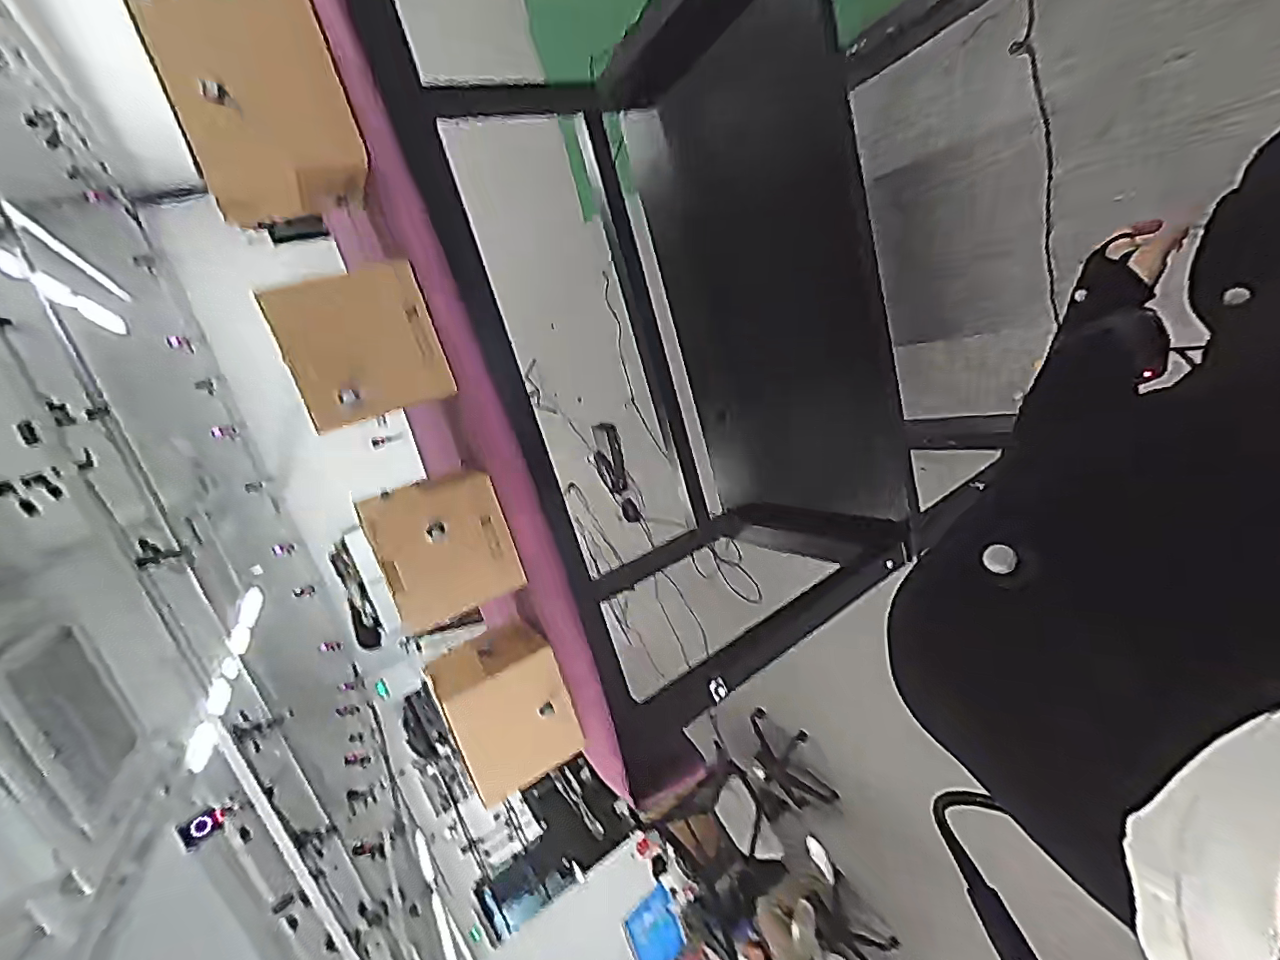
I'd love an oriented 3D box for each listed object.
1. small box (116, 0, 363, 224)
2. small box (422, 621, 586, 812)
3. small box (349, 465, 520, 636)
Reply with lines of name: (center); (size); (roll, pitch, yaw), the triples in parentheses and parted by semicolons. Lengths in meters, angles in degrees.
small box: (-0.443, -0.428, 0.631); (0.168, 0.176, 0.179); (9, 119, 60)
small box: (-0.206, 0.341, 0.822); (0.168, 0.176, 0.179); (3, 113, 61)
small box: (-0.285, 0.085, 0.763); (0.179, 0.176, 0.168); (11, 120, 59)
